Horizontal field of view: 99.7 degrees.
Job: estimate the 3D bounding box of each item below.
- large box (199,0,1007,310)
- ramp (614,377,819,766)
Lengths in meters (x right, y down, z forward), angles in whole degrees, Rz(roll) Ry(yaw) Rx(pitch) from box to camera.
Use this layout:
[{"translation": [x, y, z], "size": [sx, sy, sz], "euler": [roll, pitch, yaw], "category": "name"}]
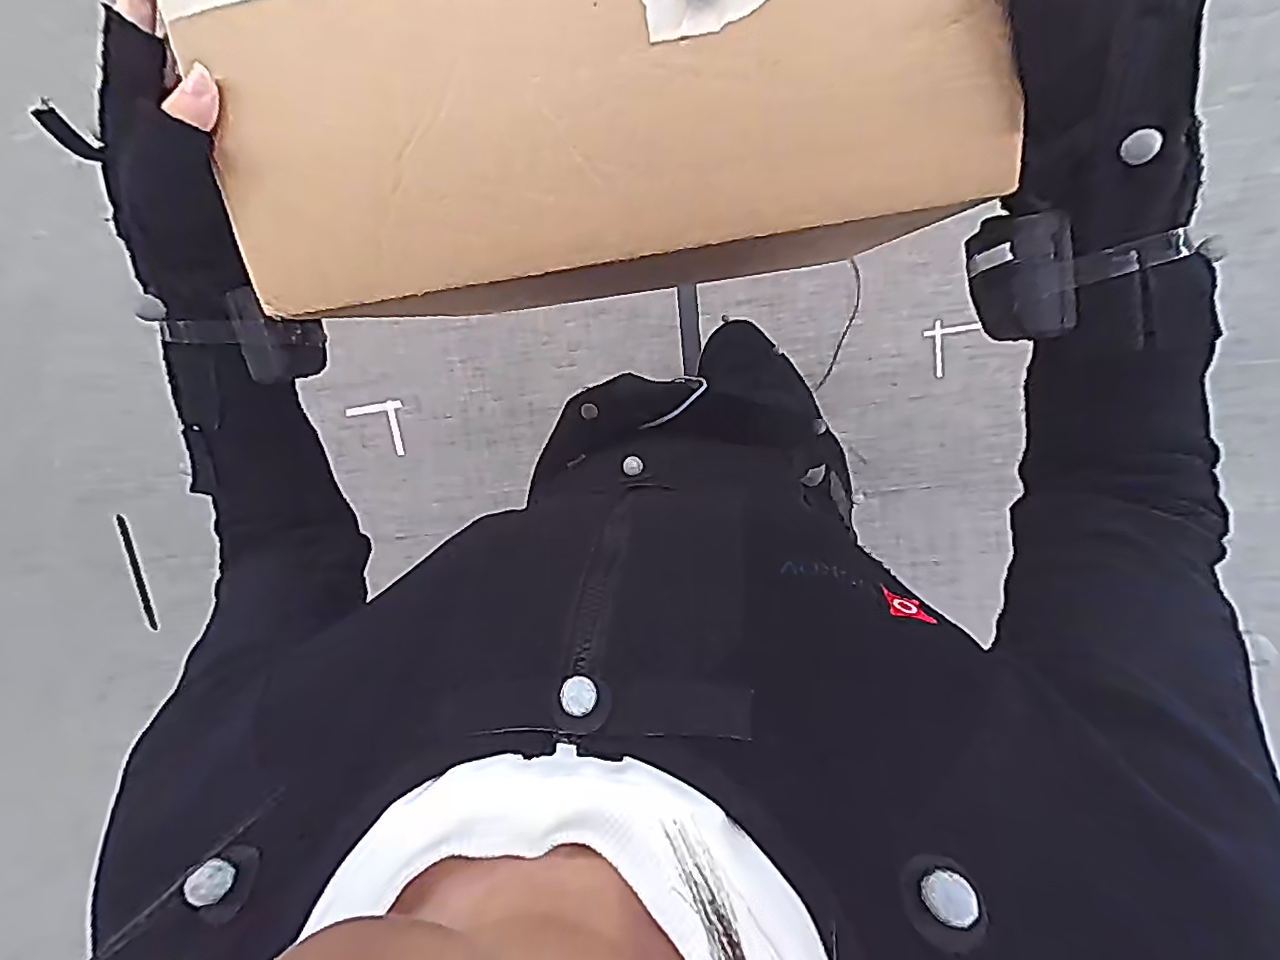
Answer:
[{"translation": [-0.023, -0.317, 0.398], "size": [0.408, 0.320, 0.320], "euler": [-7, 107, 8], "category": "large box"}, {"translation": [0.191, 0.245, 1.419], "size": [0.509, 0.206, 0.991], "euler": [-4, 99, 9], "category": "ramp"}]
